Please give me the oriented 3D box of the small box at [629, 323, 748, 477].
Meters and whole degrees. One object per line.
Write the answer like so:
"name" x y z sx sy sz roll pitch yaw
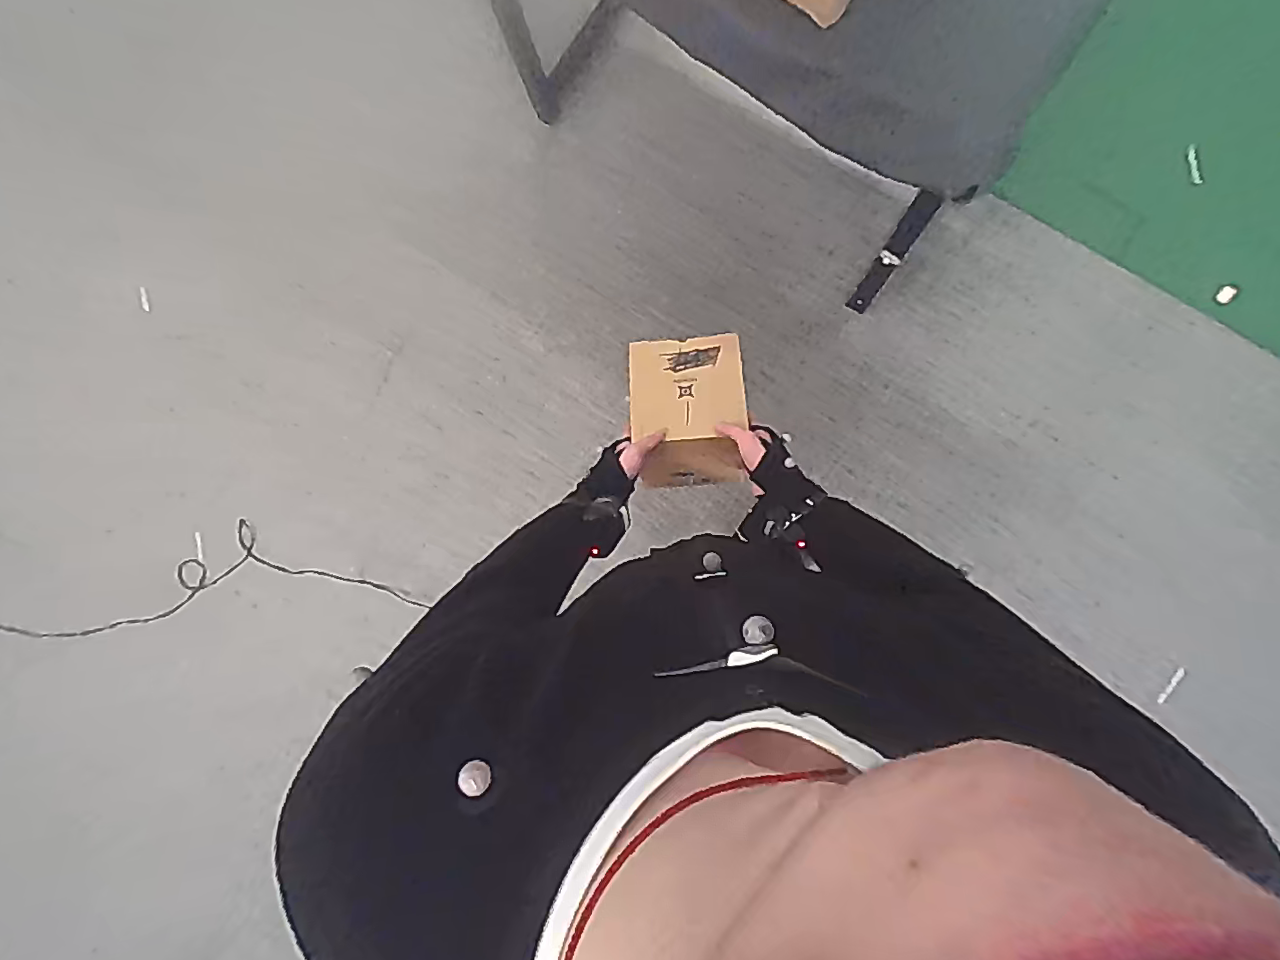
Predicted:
"small box" 0.073 -0.120 0.850 0.168 0.176 0.179 -4 68 6
